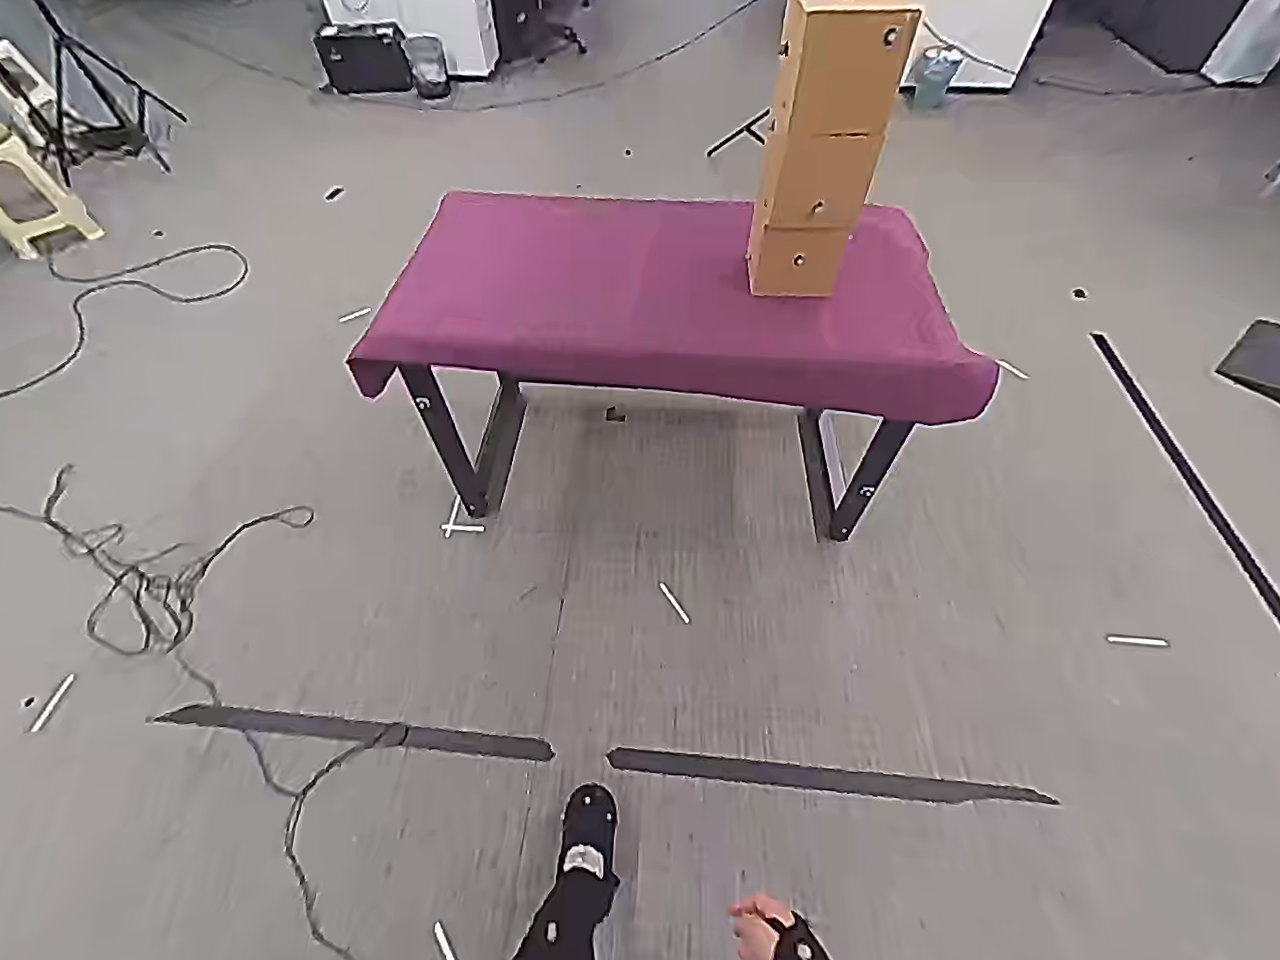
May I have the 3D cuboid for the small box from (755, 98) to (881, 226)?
[{"bbox_3d":[0.331,-0.610,1.042,0.179,0.176,0.168,-1,53,0],"label":"small box"}]

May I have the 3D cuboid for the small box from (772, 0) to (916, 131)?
[{"bbox_3d":[0.328,-0.713,0.916,0.179,0.176,0.168,-1,54,0],"label":"small box"}]
